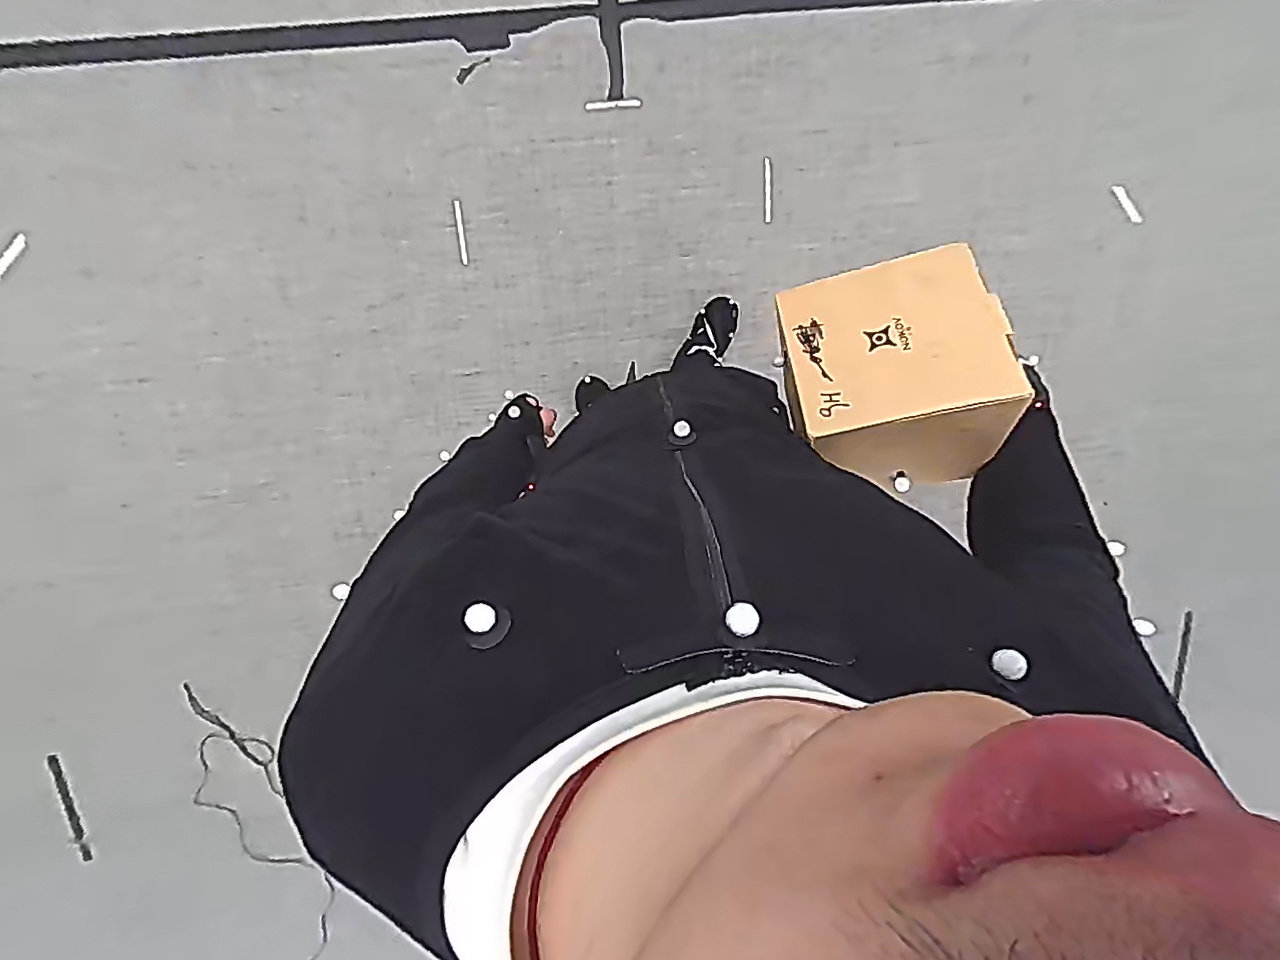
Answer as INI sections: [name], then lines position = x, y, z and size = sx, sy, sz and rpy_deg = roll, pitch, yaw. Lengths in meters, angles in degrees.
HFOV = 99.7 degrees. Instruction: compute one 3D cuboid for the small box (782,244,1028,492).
[small box]
position = 0.251, -0.102, 0.561
size = 0.179, 0.176, 0.168
rpy_deg = -11, 64, 13
